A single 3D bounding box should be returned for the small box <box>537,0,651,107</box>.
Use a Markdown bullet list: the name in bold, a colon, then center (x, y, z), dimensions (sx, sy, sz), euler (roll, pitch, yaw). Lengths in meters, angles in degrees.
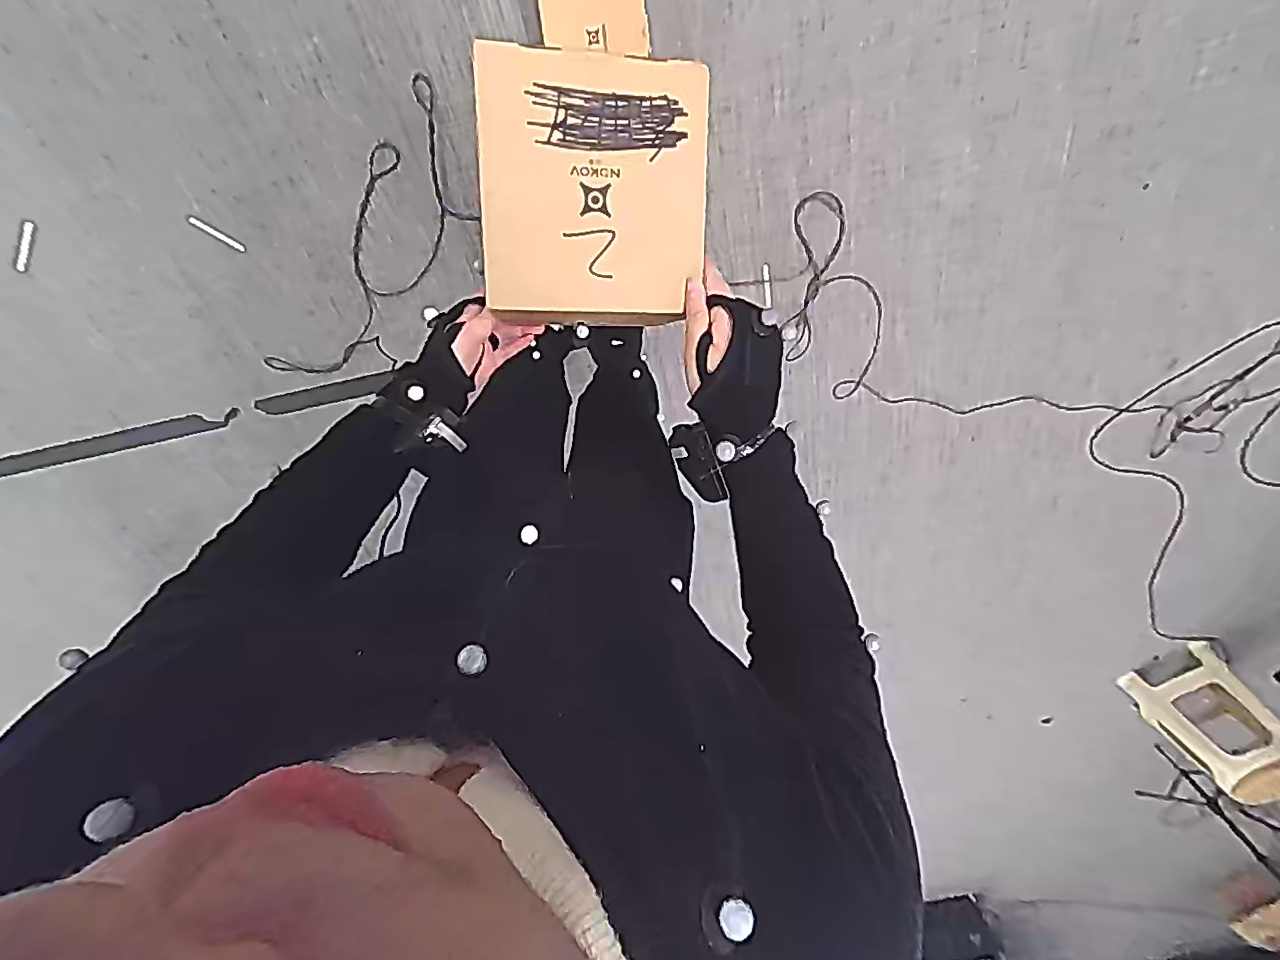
- **small box**: center (-0.077, -0.772, 0.958), dimensions (0.179, 0.176, 0.168), euler (-7, 123, 0)
